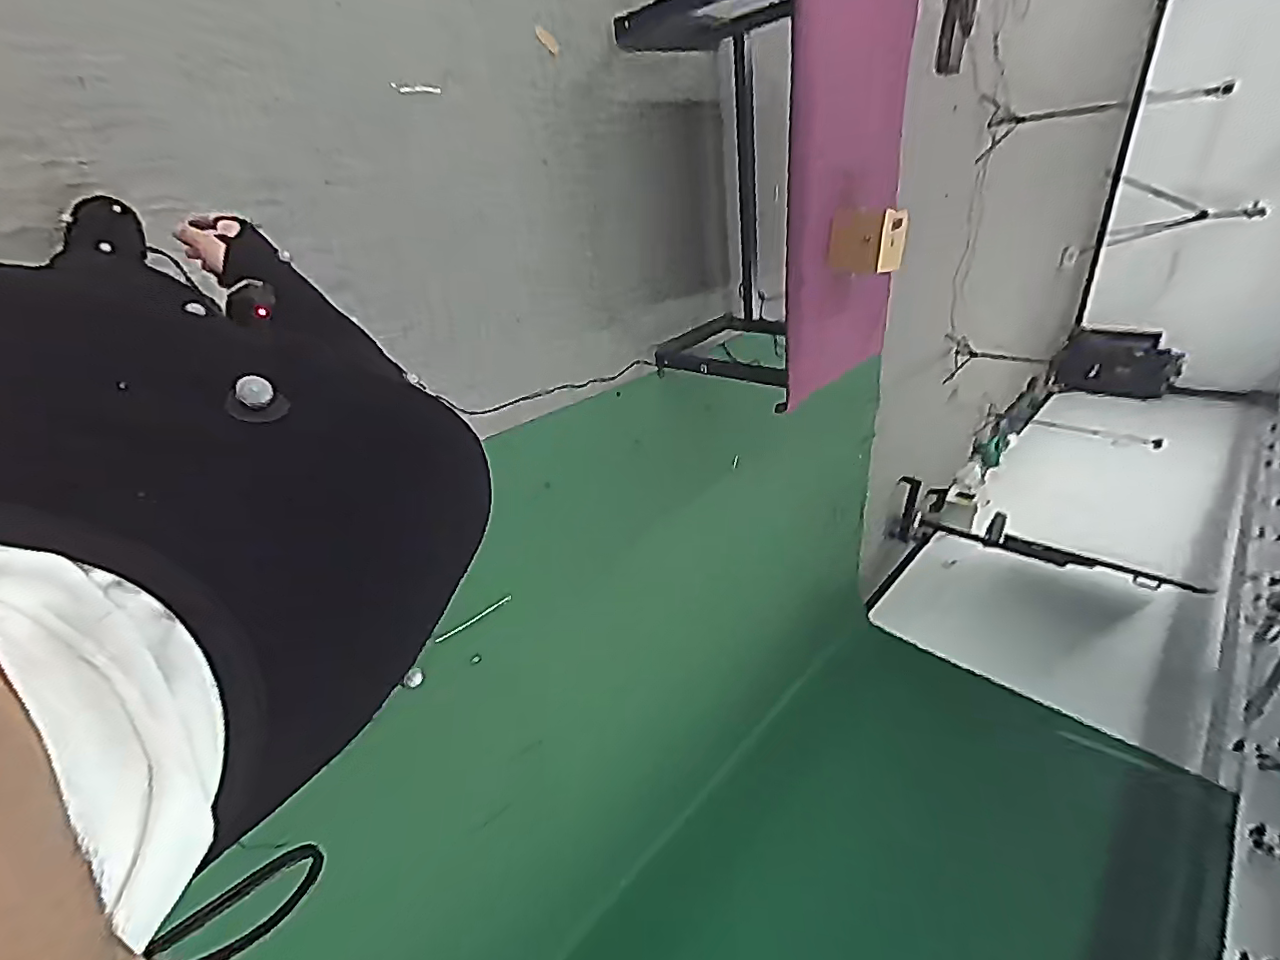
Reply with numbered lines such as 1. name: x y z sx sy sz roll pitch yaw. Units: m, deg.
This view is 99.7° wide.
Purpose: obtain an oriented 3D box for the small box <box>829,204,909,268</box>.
1. small box: 0.714 -0.764 1.698 0.168 0.176 0.179 -23 123 -38
